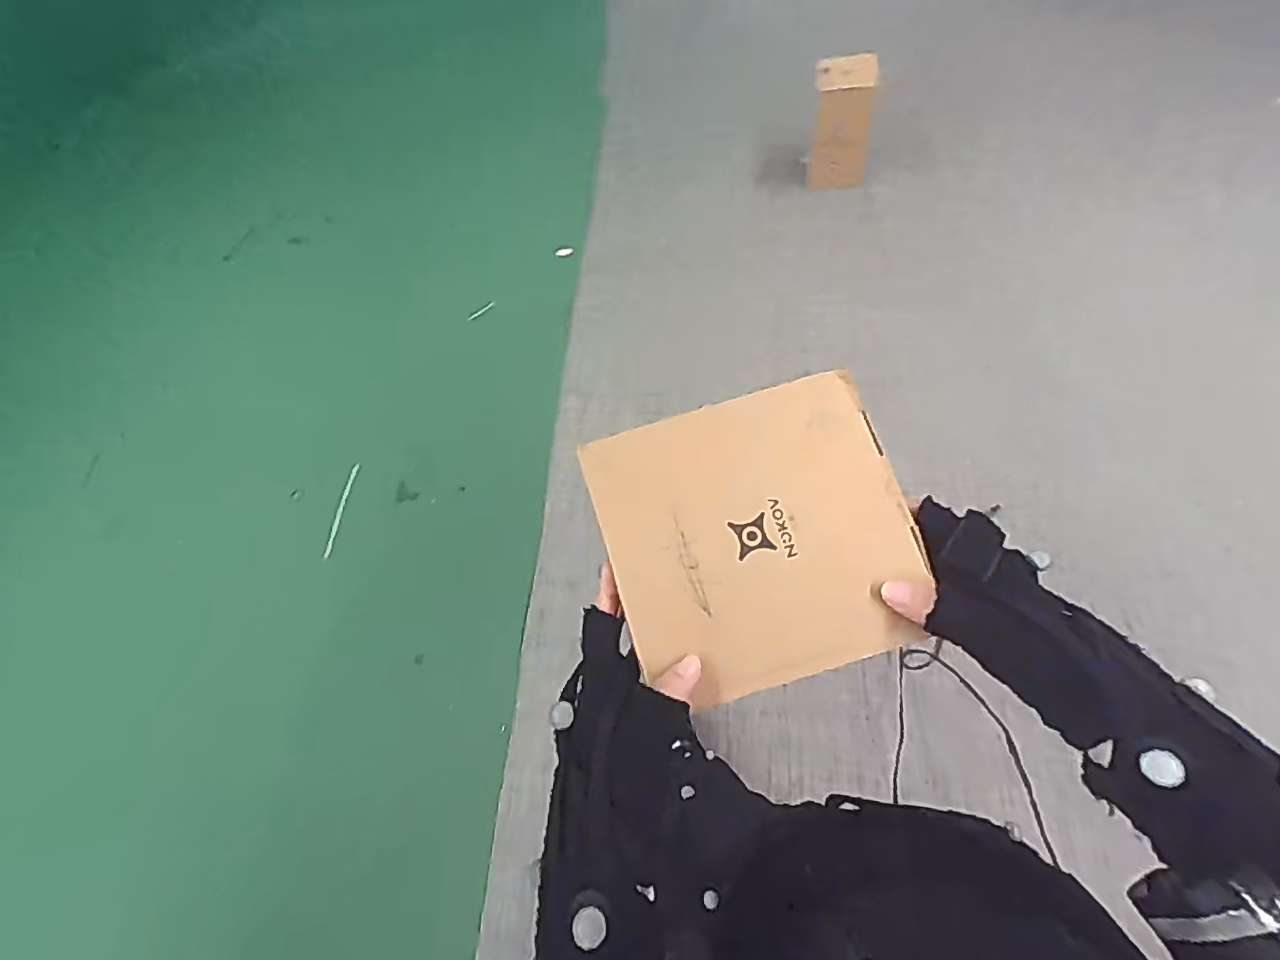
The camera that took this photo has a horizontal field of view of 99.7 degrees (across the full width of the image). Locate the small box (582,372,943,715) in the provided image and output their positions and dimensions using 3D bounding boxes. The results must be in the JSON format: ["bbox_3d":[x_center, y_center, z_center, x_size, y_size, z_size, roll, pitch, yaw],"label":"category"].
[{"bbox_3d":[0.071,0.047,0.397,0.179,0.176,0.168,-17,77,0],"label":"small box"}]

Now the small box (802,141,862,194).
[{"bbox_3d":[0.664,-1.121,1.875,0.179,0.176,0.168,4,65,14],"label":"small box"}]

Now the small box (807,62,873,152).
[{"bbox_3d":[0.635,-1.188,1.731,0.179,0.176,0.168,2,67,13],"label":"small box"}]
